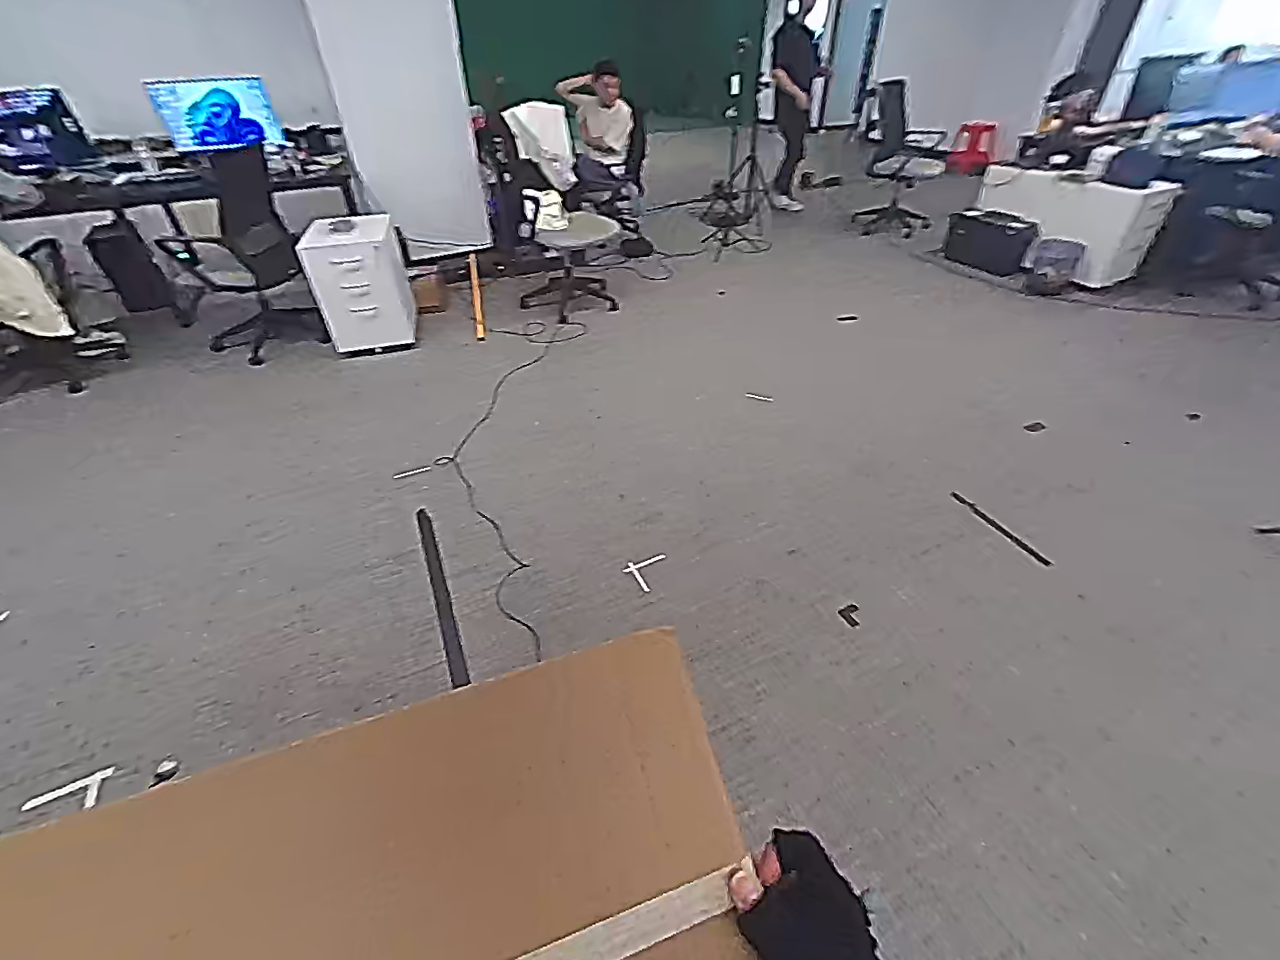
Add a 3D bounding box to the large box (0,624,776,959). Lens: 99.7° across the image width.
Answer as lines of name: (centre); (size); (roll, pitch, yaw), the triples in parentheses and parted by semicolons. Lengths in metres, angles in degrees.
large box: (-0.144, 0.341, 0.430); (0.408, 0.320, 0.320); (-14, 73, -14)
